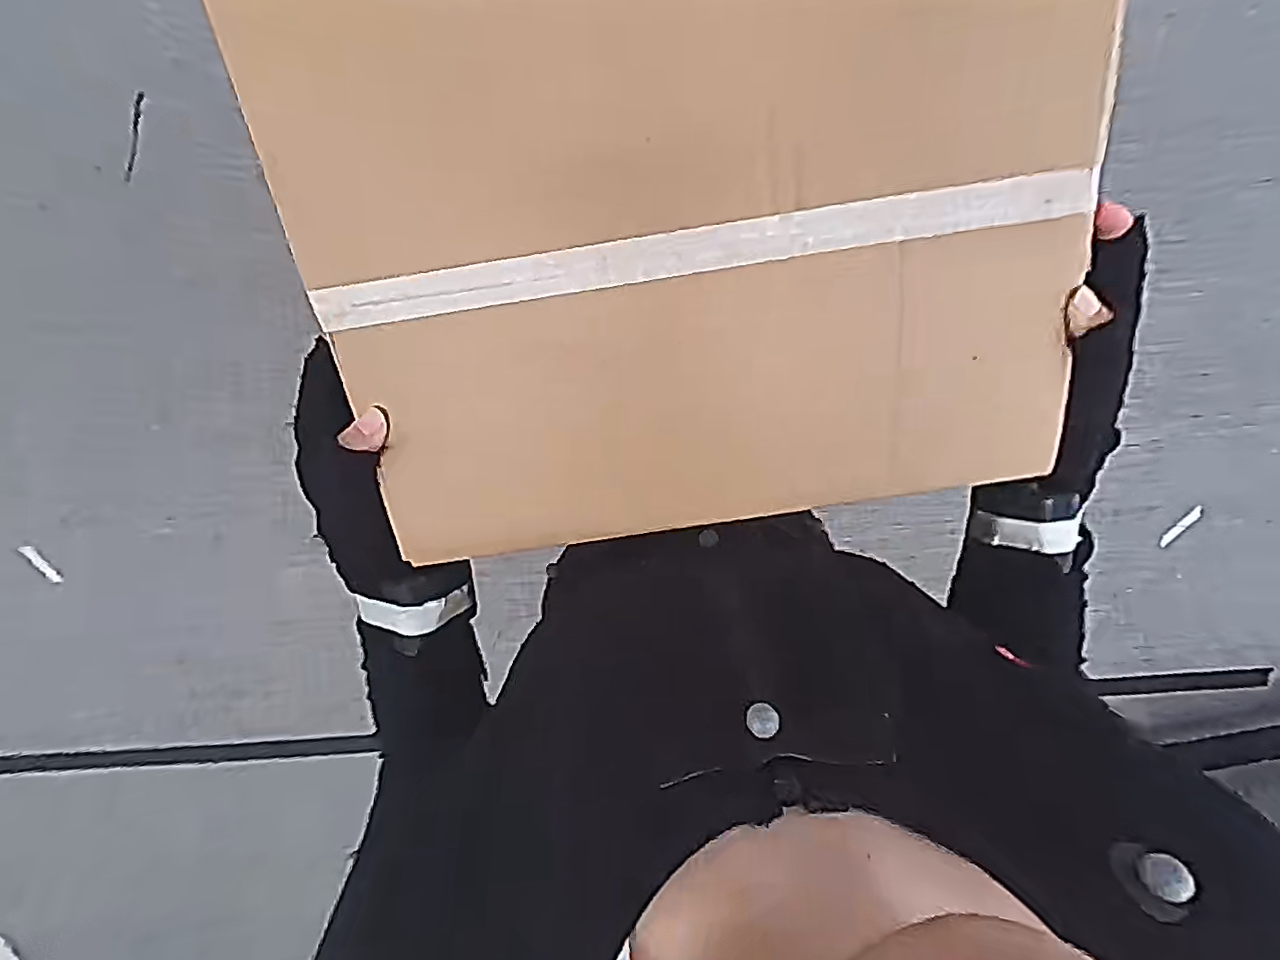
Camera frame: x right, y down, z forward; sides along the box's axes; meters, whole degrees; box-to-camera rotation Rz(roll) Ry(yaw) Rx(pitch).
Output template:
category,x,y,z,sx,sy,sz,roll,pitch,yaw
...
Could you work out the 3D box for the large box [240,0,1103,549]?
category,x,y,z,sx,sy,sz,roll,pitch,yaw
large box,0.025,-0.177,0.428,0.408,0.320,0.320,-8,113,0
